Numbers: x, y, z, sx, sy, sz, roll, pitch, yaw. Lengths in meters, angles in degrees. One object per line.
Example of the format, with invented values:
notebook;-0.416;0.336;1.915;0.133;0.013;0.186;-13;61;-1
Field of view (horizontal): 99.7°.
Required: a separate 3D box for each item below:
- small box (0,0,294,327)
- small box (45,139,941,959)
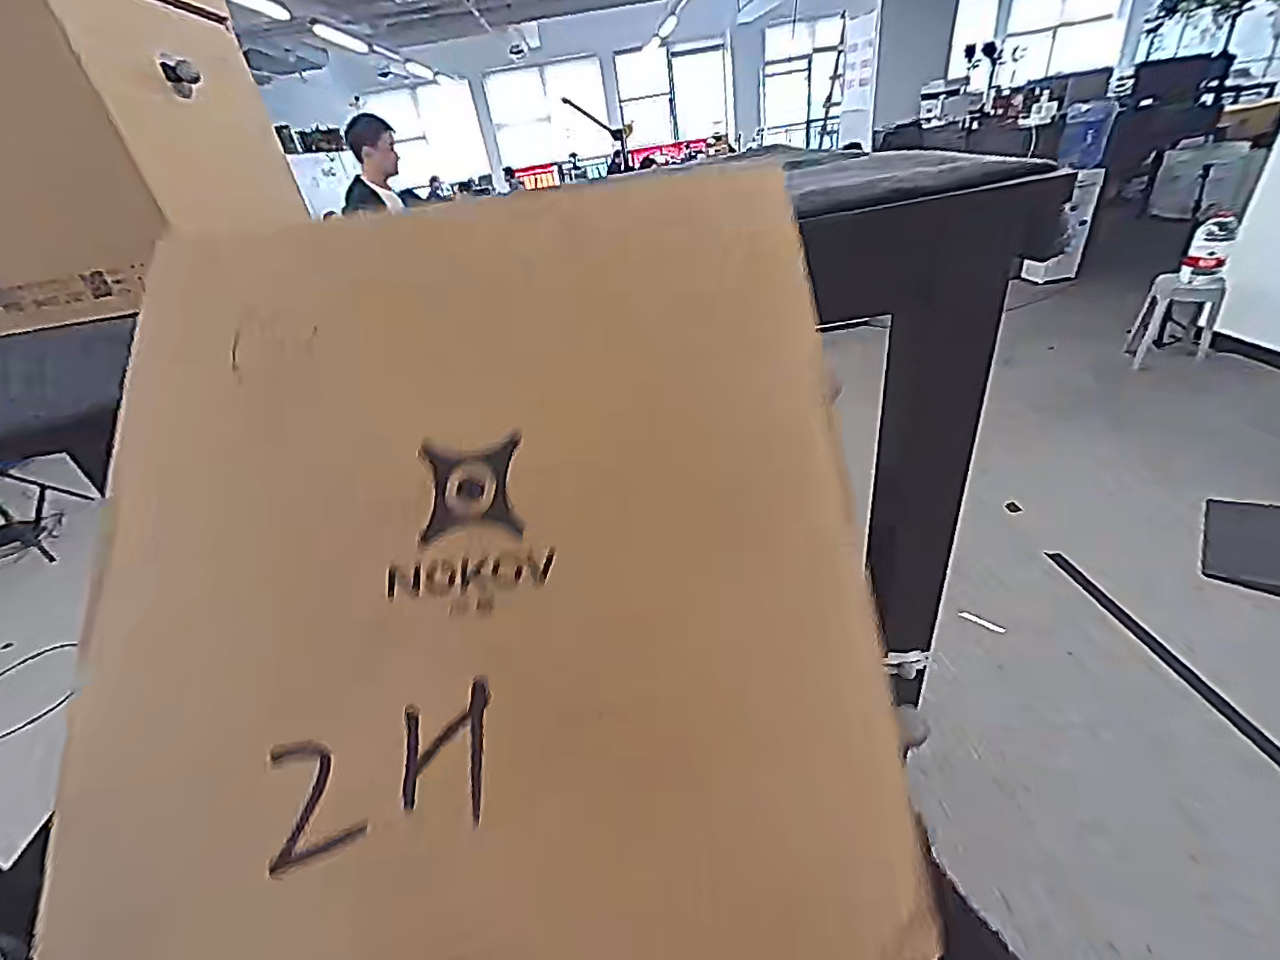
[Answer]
small box;-0.362;-0.212;0.370;0.168;0.176;0.179;-9;30;0
small box;-0.031;0.022;0.197;0.168;0.176;0.179;-6;75;2
